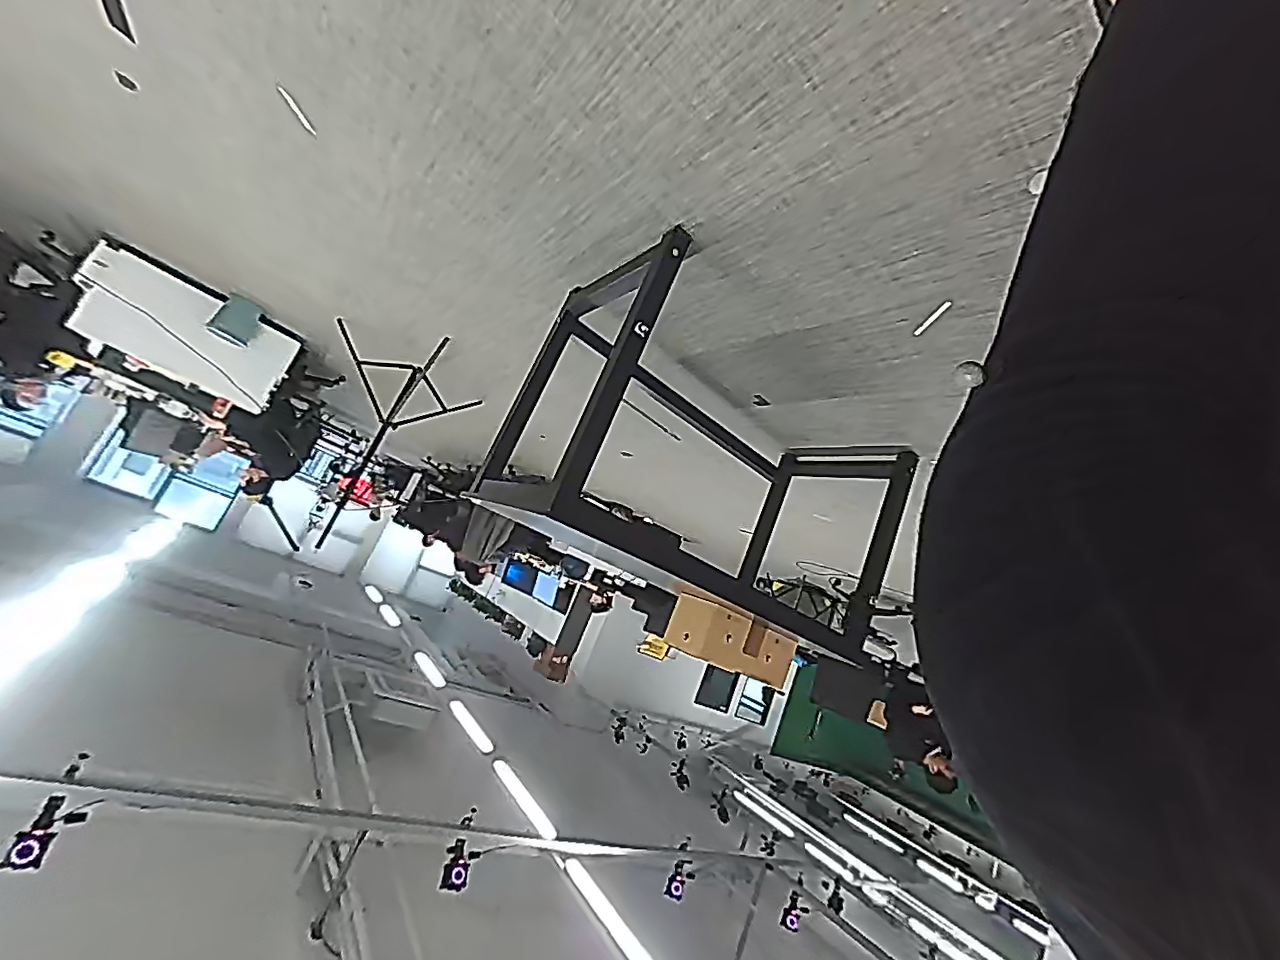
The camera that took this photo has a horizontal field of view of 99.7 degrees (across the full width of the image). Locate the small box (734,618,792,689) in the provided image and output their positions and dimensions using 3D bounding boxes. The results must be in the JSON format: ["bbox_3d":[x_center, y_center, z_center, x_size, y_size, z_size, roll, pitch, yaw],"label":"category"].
[{"bbox_3d":[0.382,0.564,1.790,0.168,0.176,0.179,32,166,-30],"label":"small box"}]

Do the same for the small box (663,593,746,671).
[{"bbox_3d":[0.206,0.461,1.664,0.168,0.176,0.179,31,165,-31],"label":"small box"}]
